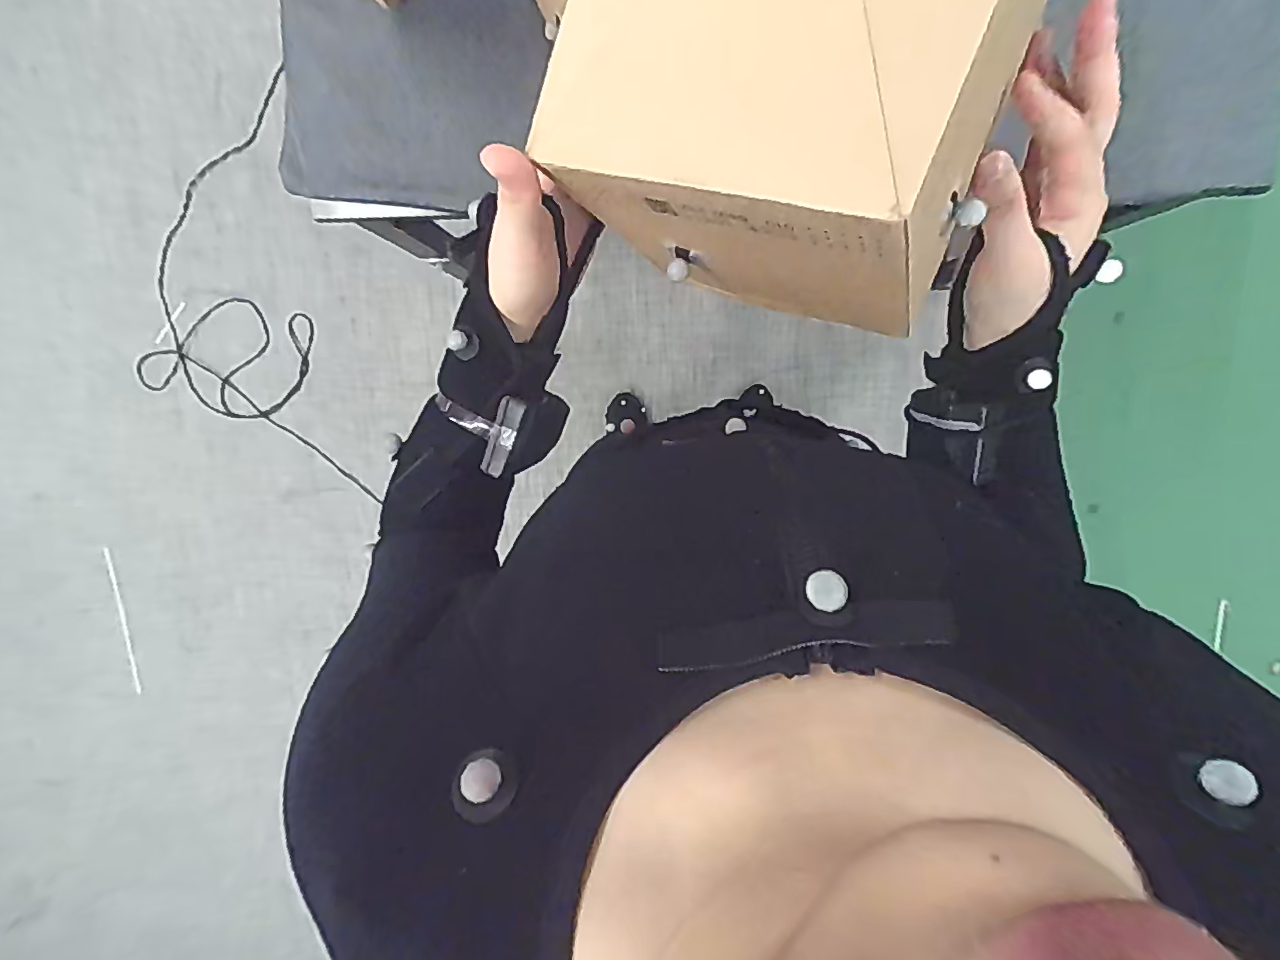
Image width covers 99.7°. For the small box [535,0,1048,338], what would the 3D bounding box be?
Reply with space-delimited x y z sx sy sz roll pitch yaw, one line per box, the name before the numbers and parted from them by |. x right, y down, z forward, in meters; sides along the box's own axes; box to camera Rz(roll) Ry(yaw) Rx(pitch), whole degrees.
small box | 0.076 -0.191 0.258 0.168 0.176 0.179 25 101 25
